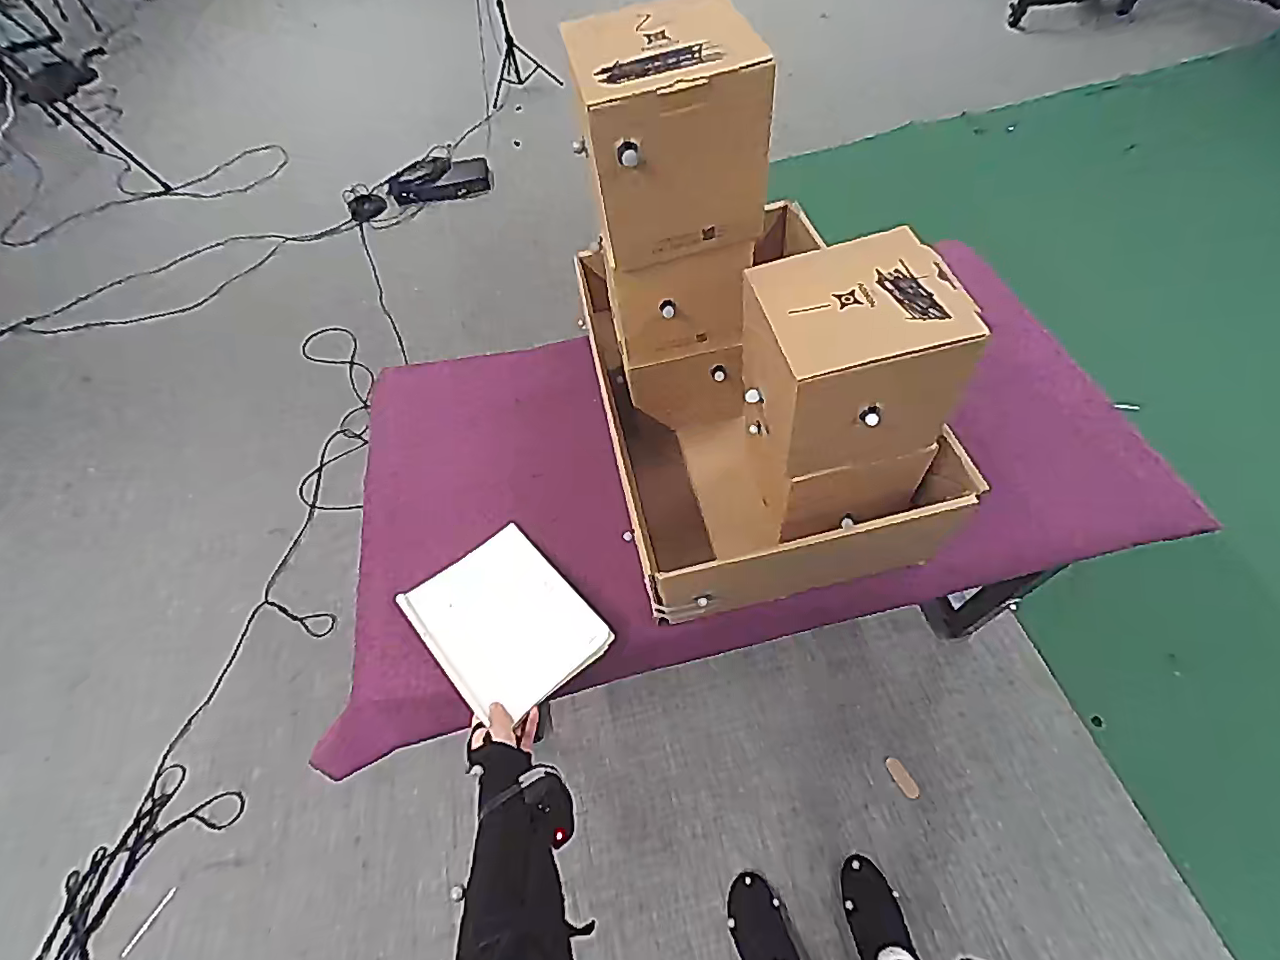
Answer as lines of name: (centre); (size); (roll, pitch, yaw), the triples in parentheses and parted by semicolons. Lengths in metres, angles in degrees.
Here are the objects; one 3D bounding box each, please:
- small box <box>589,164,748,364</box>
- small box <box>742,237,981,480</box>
small box: (0.038, -0.273, 0.713); (0.168, 0.176, 0.179); (-13, 58, 0)
small box: (0.214, -0.124, 0.584); (0.179, 0.176, 0.168); (-14, 55, 2)
